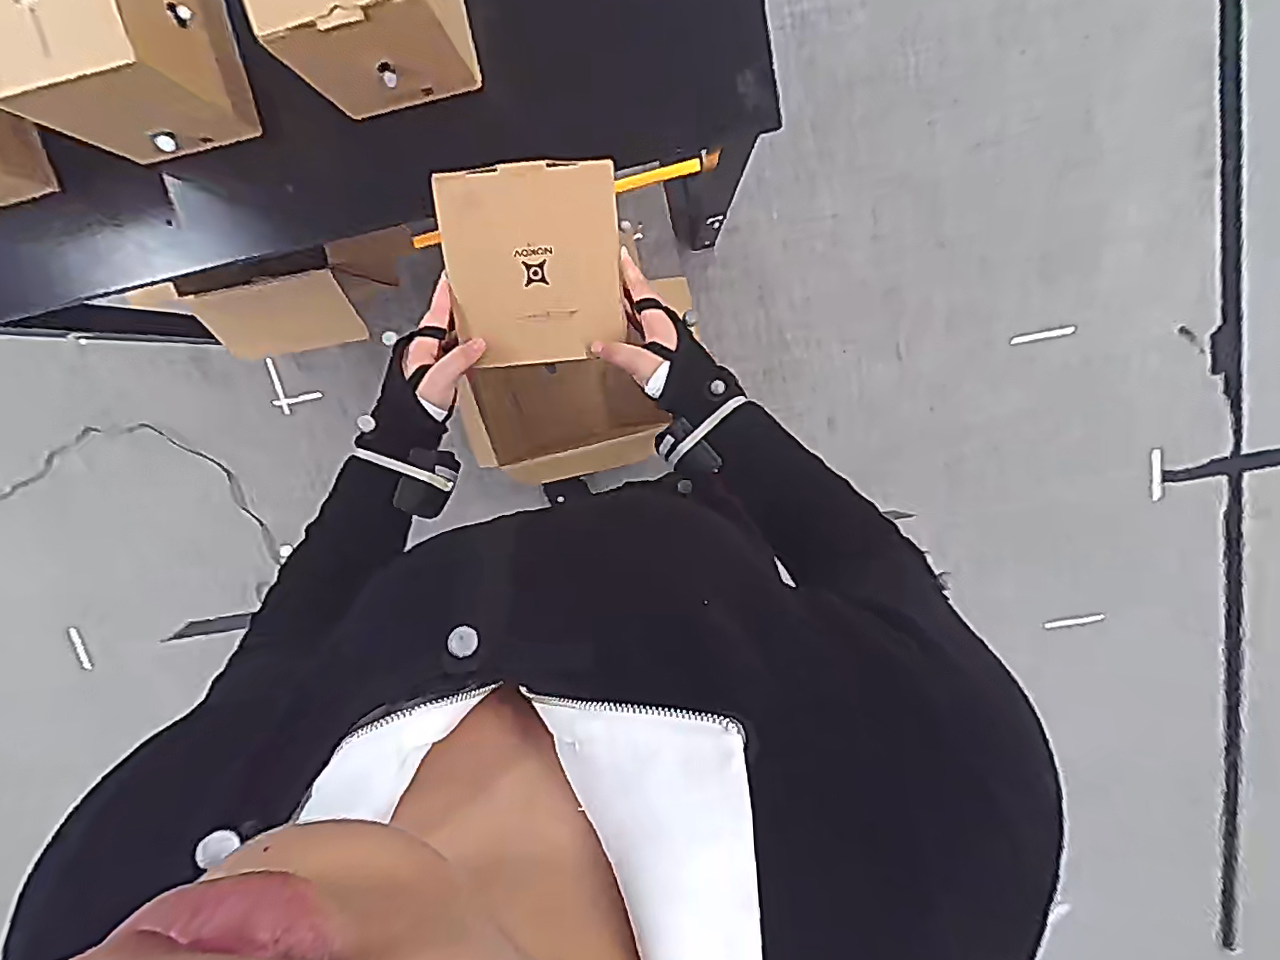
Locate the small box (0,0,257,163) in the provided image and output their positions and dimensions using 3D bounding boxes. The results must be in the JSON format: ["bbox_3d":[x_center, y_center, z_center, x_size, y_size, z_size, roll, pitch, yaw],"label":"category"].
[{"bbox_3d":[-0.562,-0.474,0.575,0.168,0.176,0.179,-10,101,4],"label":"small box"}]

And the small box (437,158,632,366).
[{"bbox_3d":[-0.101,-0.223,0.589,0.168,0.176,0.179,-6,106,-1],"label":"small box"}]

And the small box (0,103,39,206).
[{"bbox_3d":[-0.839,-0.411,0.595,0.179,0.176,0.168,-12,100,4],"label":"small box"}]

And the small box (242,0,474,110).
[{"bbox_3d":[-0.290,-0.517,0.558,0.168,0.176,0.179,-11,101,4],"label":"small box"}]
